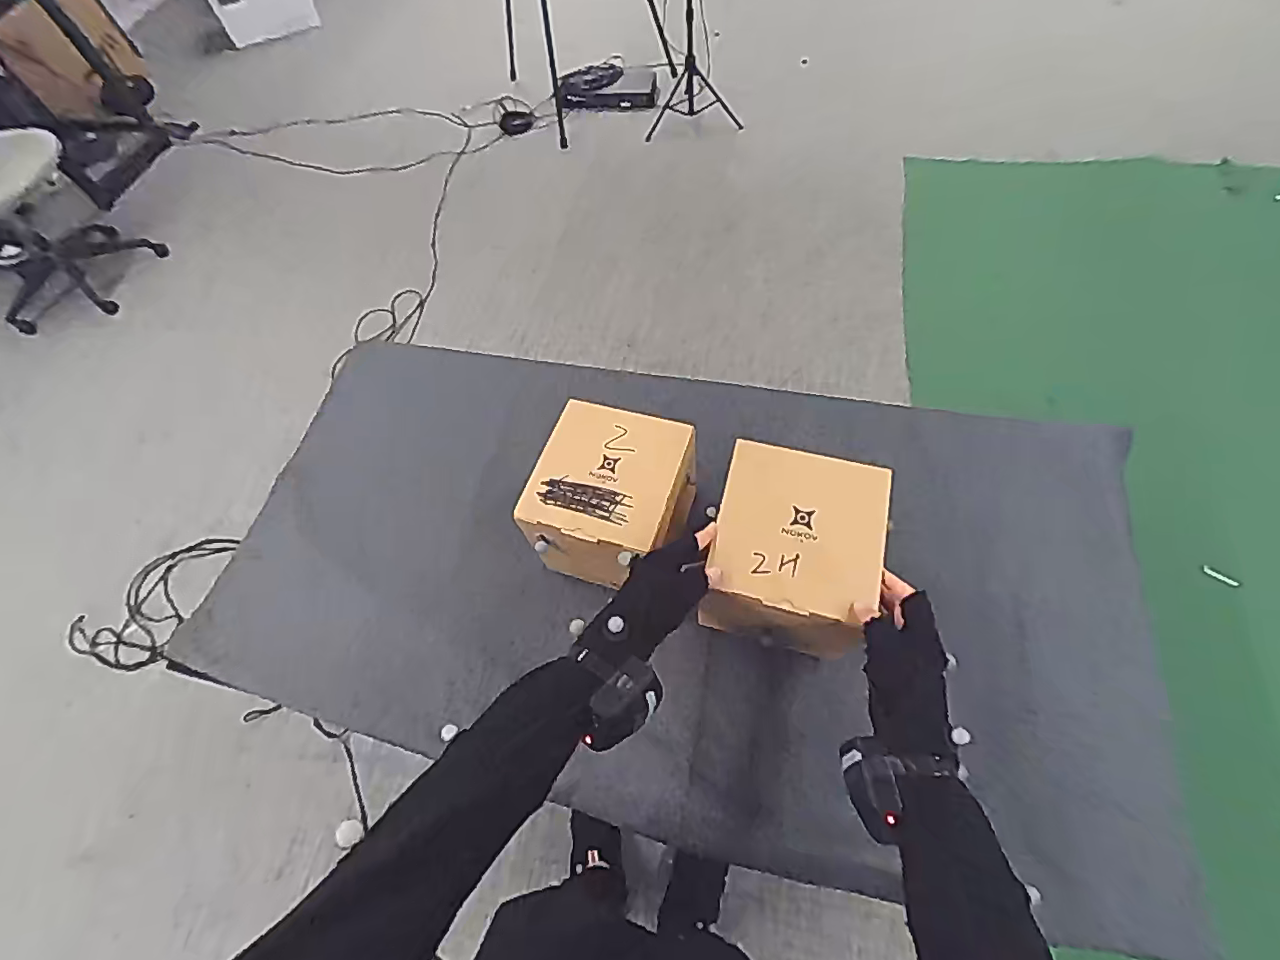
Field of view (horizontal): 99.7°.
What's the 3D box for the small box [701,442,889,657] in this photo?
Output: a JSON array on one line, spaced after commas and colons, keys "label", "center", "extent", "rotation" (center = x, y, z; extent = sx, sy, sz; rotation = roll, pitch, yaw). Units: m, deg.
[{"label": "small box", "center": [0.167, 0.086, 0.622], "extent": [0.168, 0.176, 0.179], "rotation": [13, 65, 12]}]
